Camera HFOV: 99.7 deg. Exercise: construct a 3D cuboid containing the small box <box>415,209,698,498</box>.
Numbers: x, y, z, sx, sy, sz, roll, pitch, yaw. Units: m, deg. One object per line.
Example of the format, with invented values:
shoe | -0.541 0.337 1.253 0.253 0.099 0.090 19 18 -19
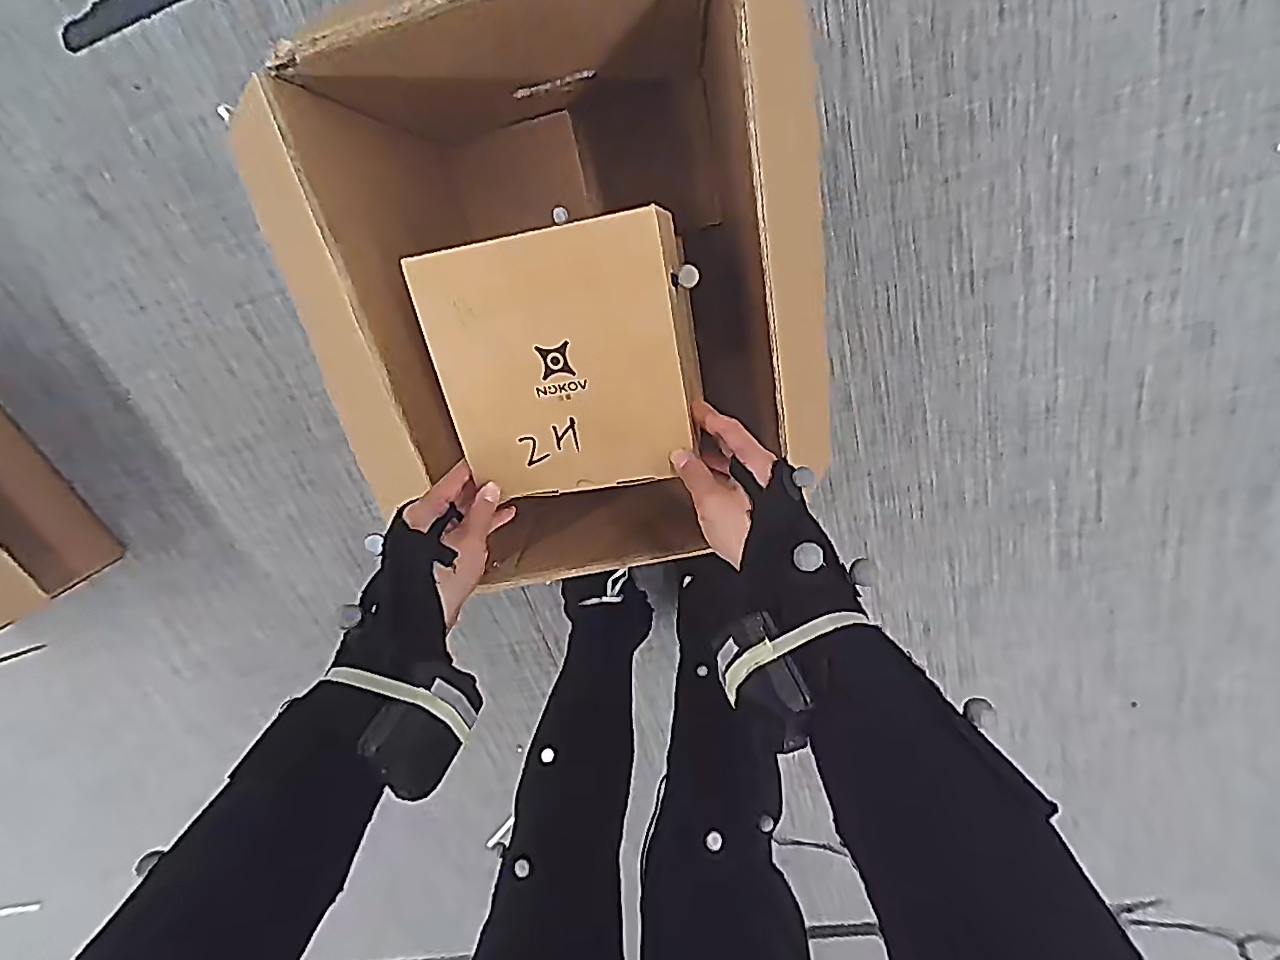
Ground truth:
small box | -0.046 -0.105 0.441 0.168 0.176 0.179 -7 113 10
